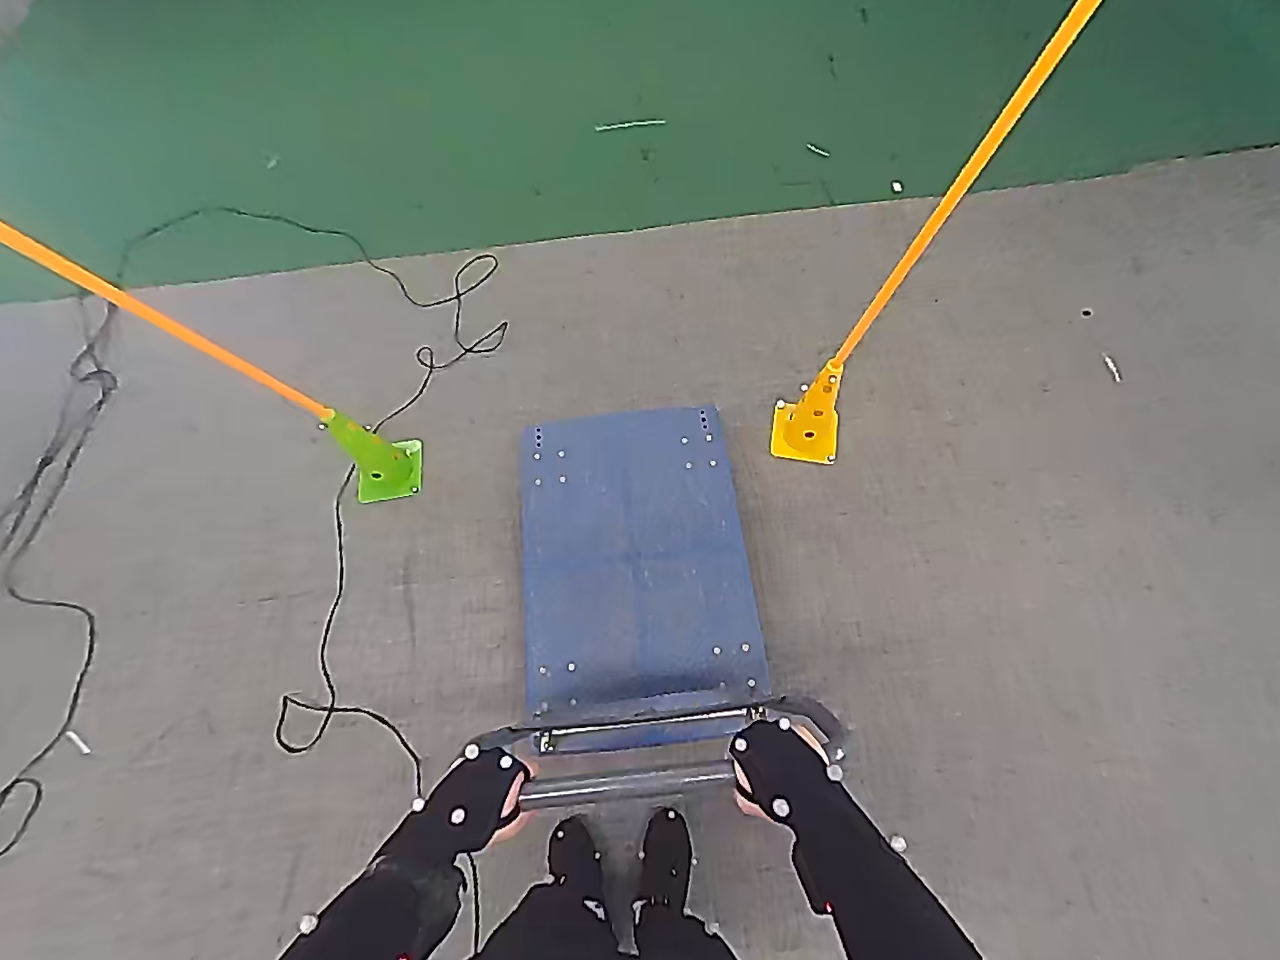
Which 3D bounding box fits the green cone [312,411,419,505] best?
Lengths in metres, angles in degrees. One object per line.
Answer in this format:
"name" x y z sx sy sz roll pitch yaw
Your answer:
"green cone" -0.819 -0.096 1.574 0.202 0.368 0.200 -11 65 0
